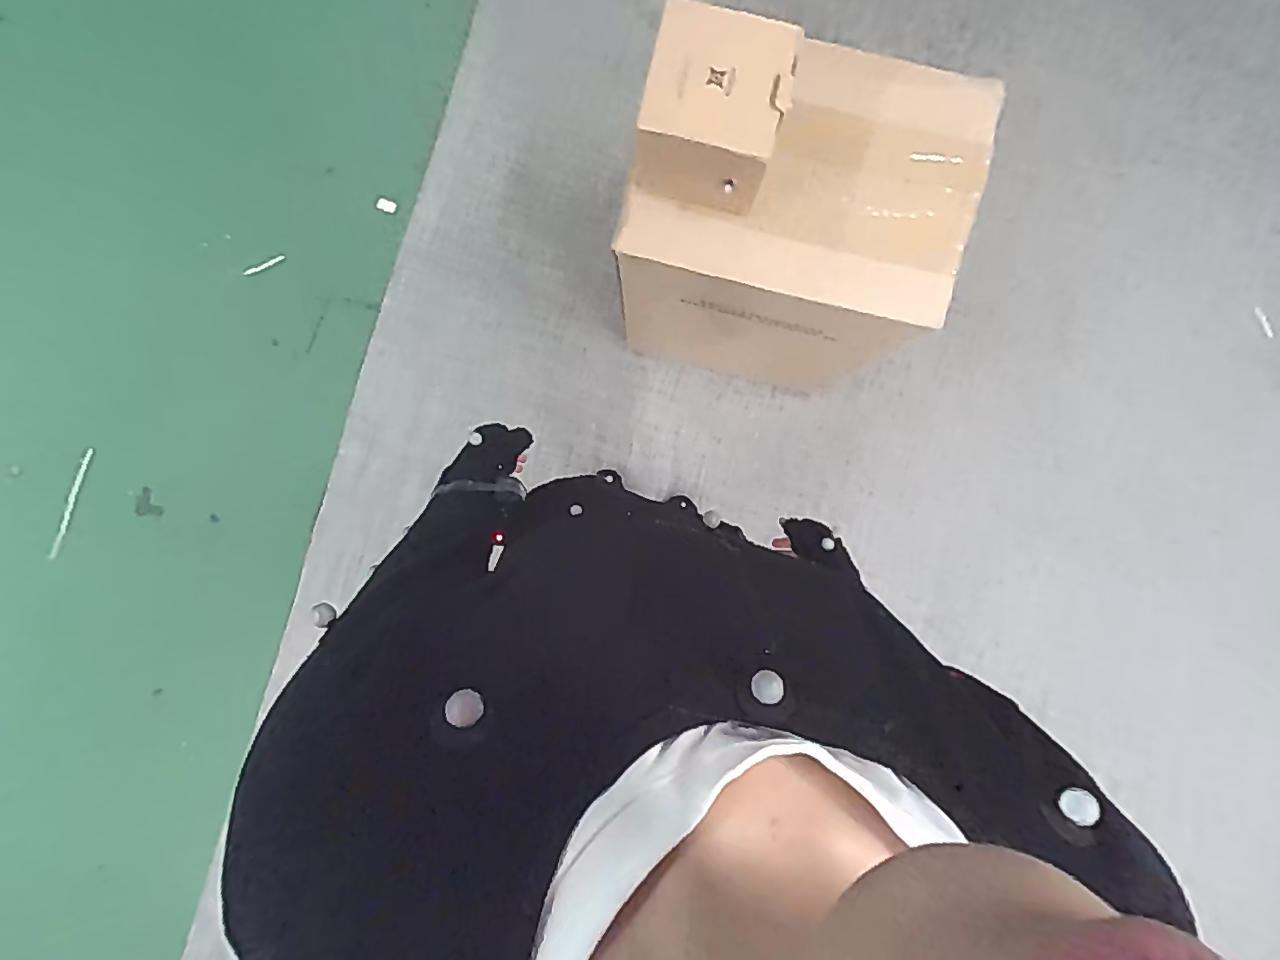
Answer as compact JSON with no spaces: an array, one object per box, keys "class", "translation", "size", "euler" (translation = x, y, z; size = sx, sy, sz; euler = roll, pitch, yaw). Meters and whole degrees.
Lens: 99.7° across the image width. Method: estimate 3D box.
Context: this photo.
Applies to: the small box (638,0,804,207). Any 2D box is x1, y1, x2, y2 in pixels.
[{"class":"small box","translation":[0.103,-0.507,0.753],"size":[0.179,0.176,0.168],"euler":[13,93,2]}]
